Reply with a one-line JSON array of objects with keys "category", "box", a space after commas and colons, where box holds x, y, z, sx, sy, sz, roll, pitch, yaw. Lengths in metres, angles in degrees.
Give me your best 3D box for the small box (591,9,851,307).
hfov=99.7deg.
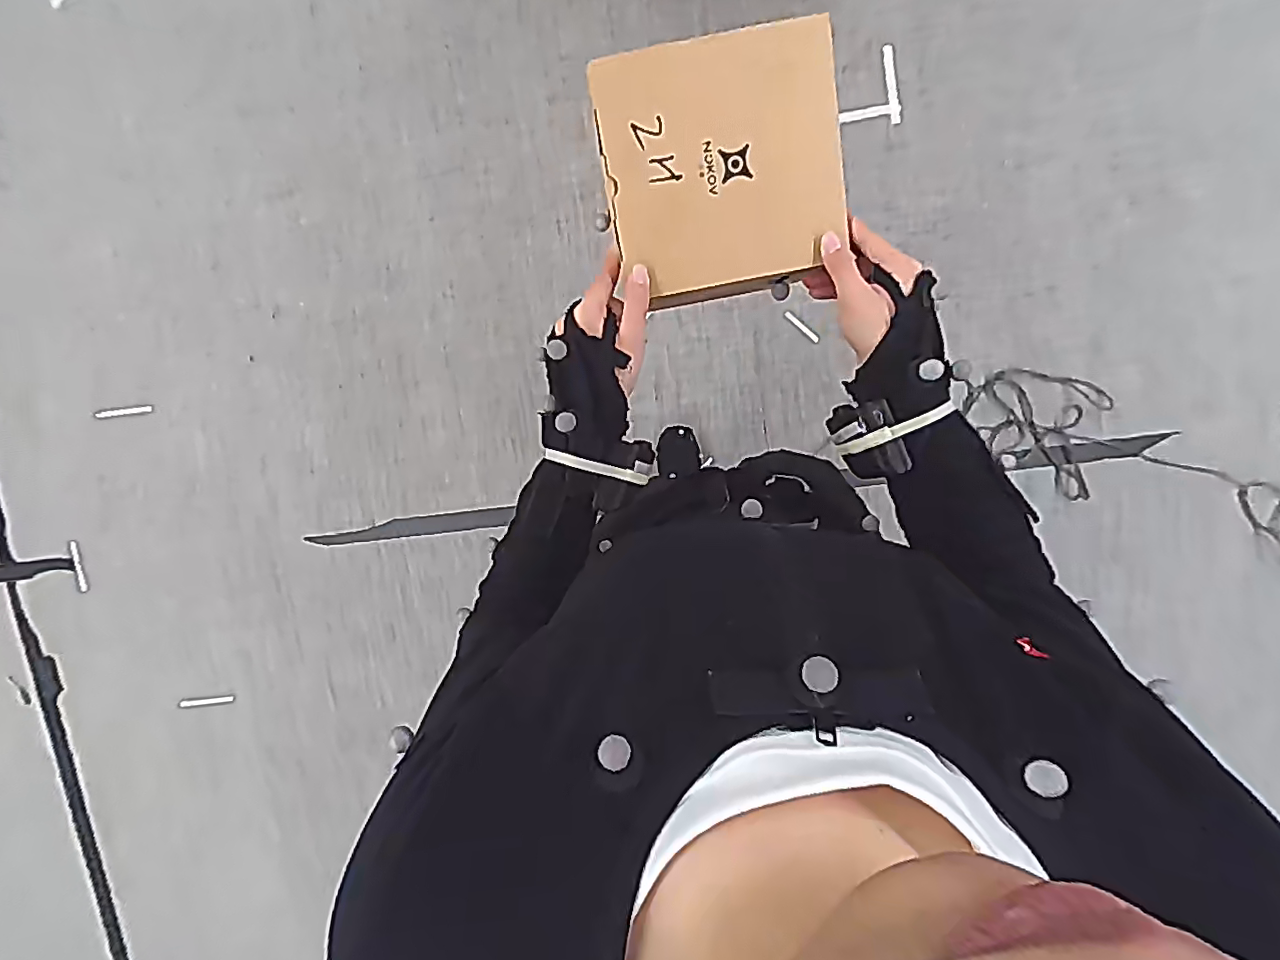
[{"category": "small box", "box": [0.061, -0.253, 0.470, 0.179, 0.176, 0.168, -10, 103, 2]}]
